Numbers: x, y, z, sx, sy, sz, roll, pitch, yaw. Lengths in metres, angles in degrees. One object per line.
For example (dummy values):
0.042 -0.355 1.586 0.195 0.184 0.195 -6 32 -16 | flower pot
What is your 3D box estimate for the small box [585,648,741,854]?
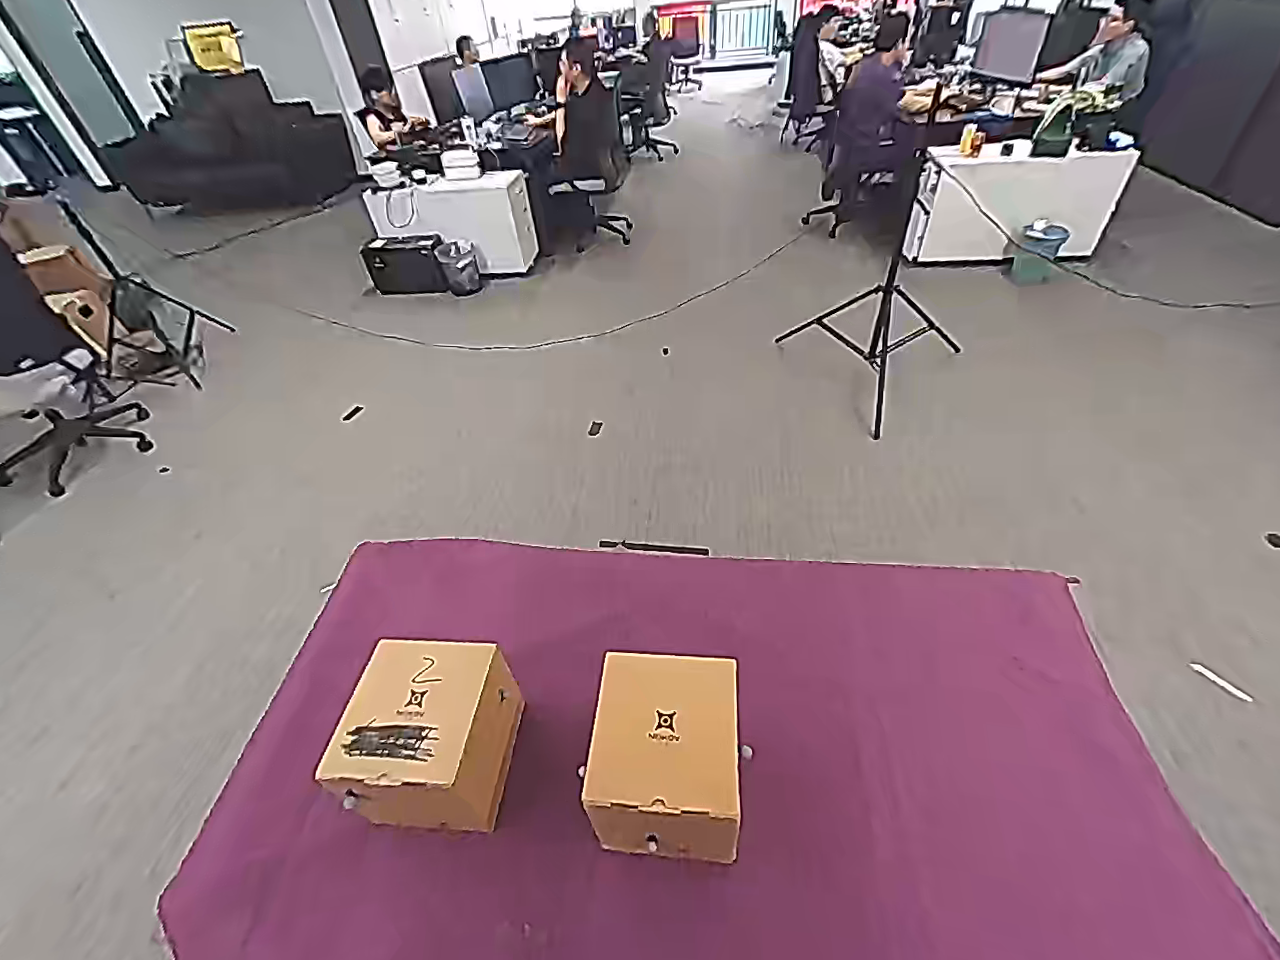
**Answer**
0.037 0.333 0.672 0.168 0.176 0.179 0 44 8 | small box
